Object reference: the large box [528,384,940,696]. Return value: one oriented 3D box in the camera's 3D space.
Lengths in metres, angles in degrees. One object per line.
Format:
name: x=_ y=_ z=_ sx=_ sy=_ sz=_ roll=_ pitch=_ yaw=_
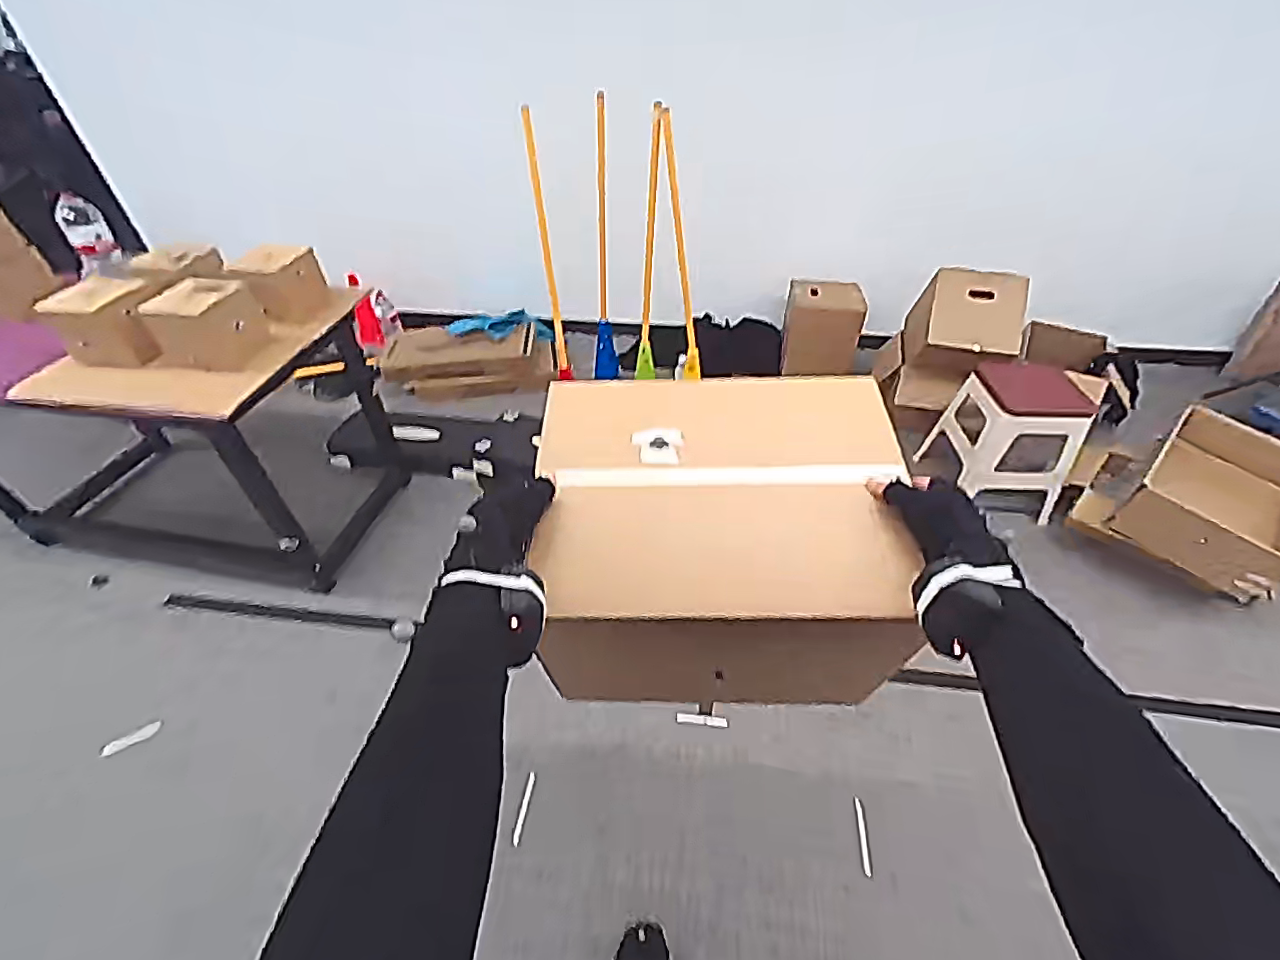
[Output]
large box: x=0.098 y=0.094 z=0.724 sx=0.408 sy=0.320 sz=0.320 roll=-1 pitch=53 yaw=3
